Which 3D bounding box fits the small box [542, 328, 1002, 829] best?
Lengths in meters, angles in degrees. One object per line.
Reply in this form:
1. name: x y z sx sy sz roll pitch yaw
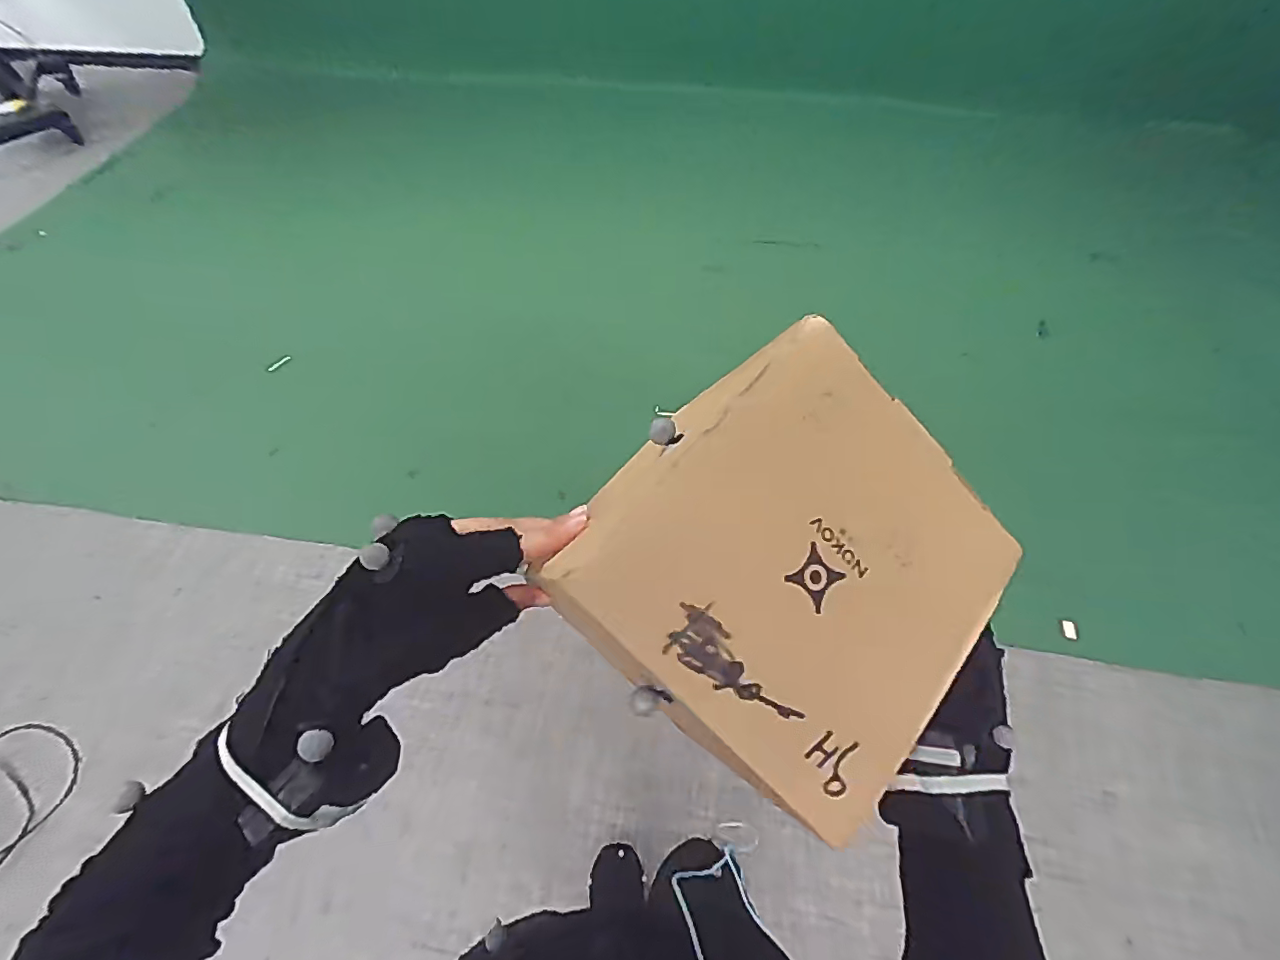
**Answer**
1. small box: 0.059 0.048 0.329 0.168 0.176 0.179 46 72 -5
